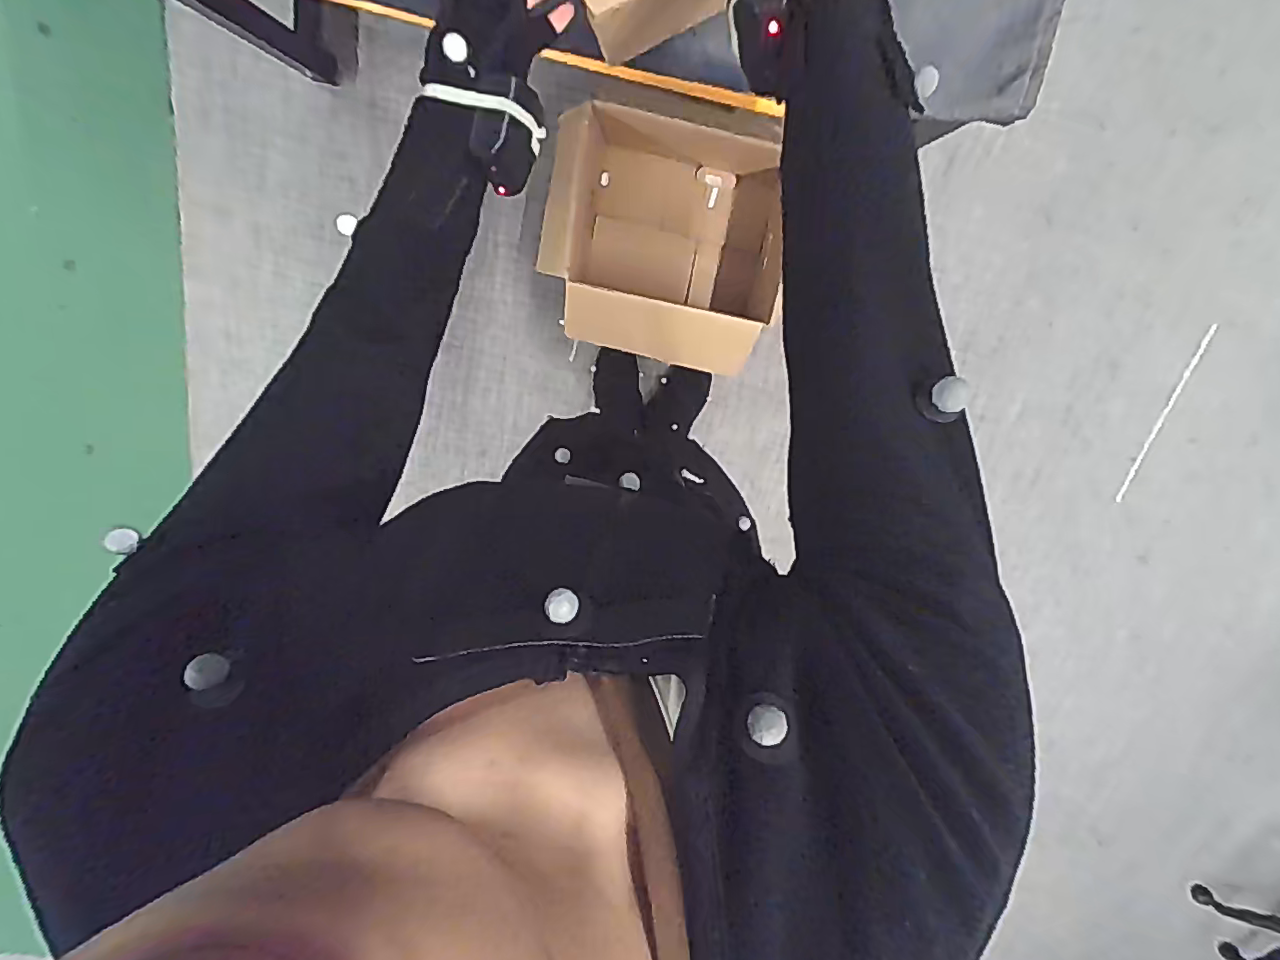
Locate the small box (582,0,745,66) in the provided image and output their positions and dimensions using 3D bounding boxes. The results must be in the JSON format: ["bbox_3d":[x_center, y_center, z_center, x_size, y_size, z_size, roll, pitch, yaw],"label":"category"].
[{"bbox_3d":[0.014,-0.493,0.452,0.179,0.176,0.168,-19,112,12],"label":"small box"}]
